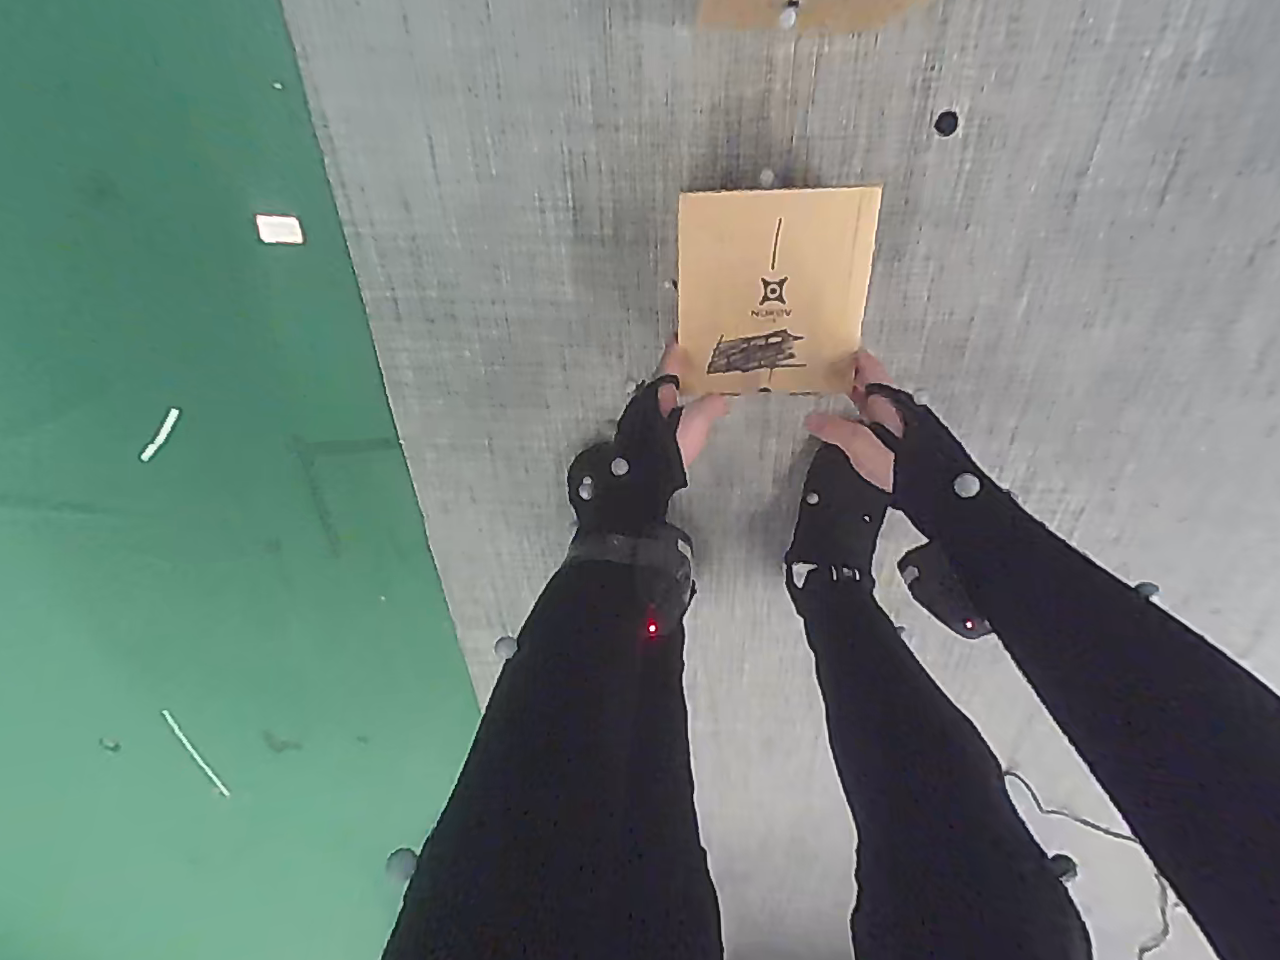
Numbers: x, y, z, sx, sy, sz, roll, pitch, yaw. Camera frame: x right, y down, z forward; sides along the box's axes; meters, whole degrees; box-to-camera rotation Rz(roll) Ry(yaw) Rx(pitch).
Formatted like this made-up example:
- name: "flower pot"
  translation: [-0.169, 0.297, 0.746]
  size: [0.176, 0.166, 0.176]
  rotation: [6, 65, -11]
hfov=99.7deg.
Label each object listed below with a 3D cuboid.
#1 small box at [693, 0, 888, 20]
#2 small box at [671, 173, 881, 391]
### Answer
- name: "small box"
  translation: [0.128, -0.454, 0.389]
  size: [0.179, 0.176, 0.168]
  rotation: [2, 121, 2]
- name: "small box"
  translation: [0.116, -0.197, 0.534]
  size: [0.168, 0.176, 0.179]
  rotation: [-1, 116, 4]
